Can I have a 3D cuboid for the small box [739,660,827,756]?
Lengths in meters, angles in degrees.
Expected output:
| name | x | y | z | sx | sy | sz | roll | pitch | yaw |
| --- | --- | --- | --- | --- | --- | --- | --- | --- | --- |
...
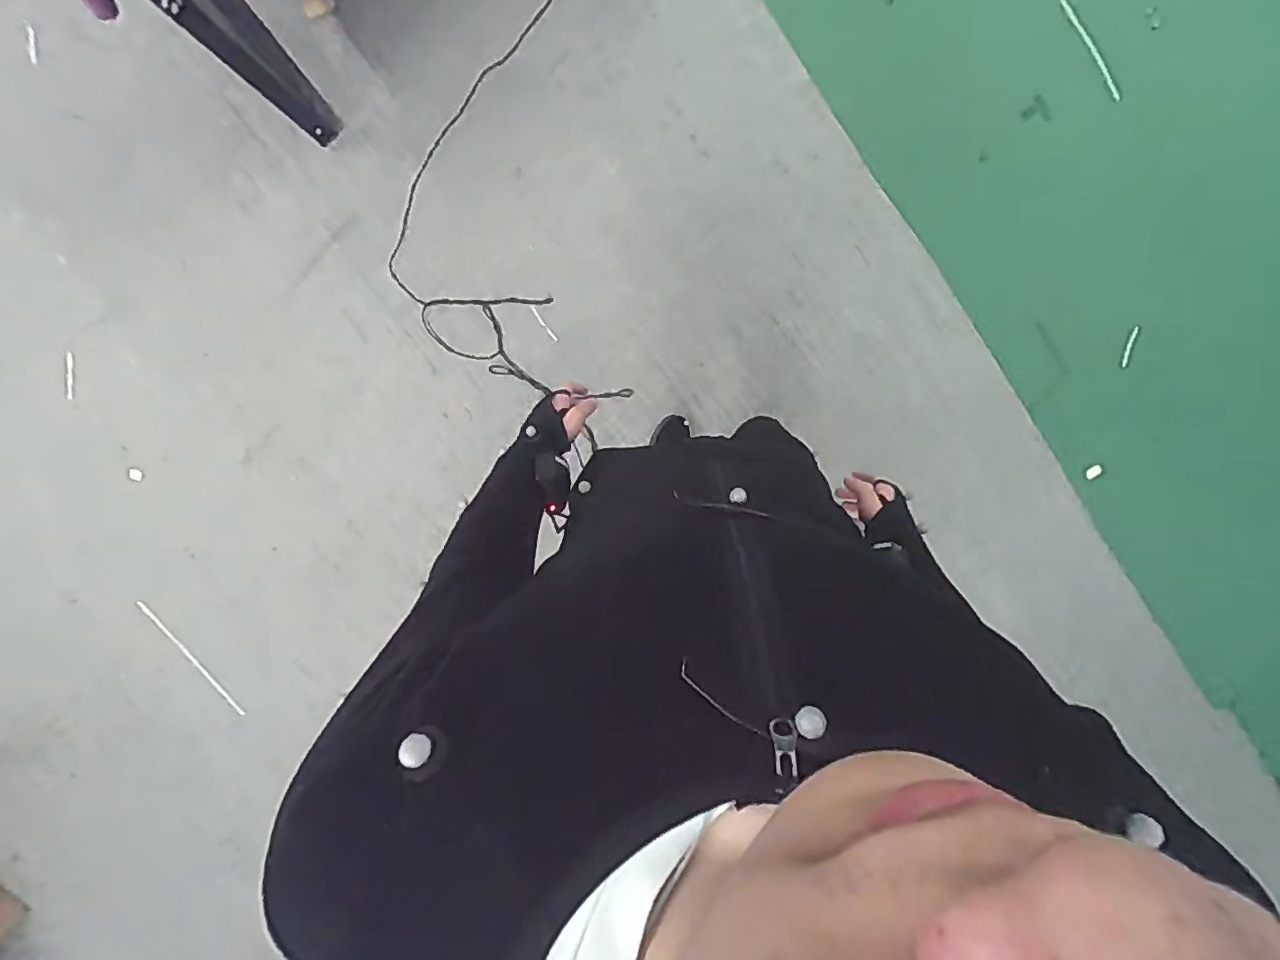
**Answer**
| name | x | y | z | sx | sy | sz | roll | pitch | yaw |
| --- | --- | --- | --- | --- | --- | --- | --- | --- | --- |
| small box | 0.414 | 0.662 | 1.600 | 0.168 | 0.176 | 0.179 | -32 | 97 | 4 |
